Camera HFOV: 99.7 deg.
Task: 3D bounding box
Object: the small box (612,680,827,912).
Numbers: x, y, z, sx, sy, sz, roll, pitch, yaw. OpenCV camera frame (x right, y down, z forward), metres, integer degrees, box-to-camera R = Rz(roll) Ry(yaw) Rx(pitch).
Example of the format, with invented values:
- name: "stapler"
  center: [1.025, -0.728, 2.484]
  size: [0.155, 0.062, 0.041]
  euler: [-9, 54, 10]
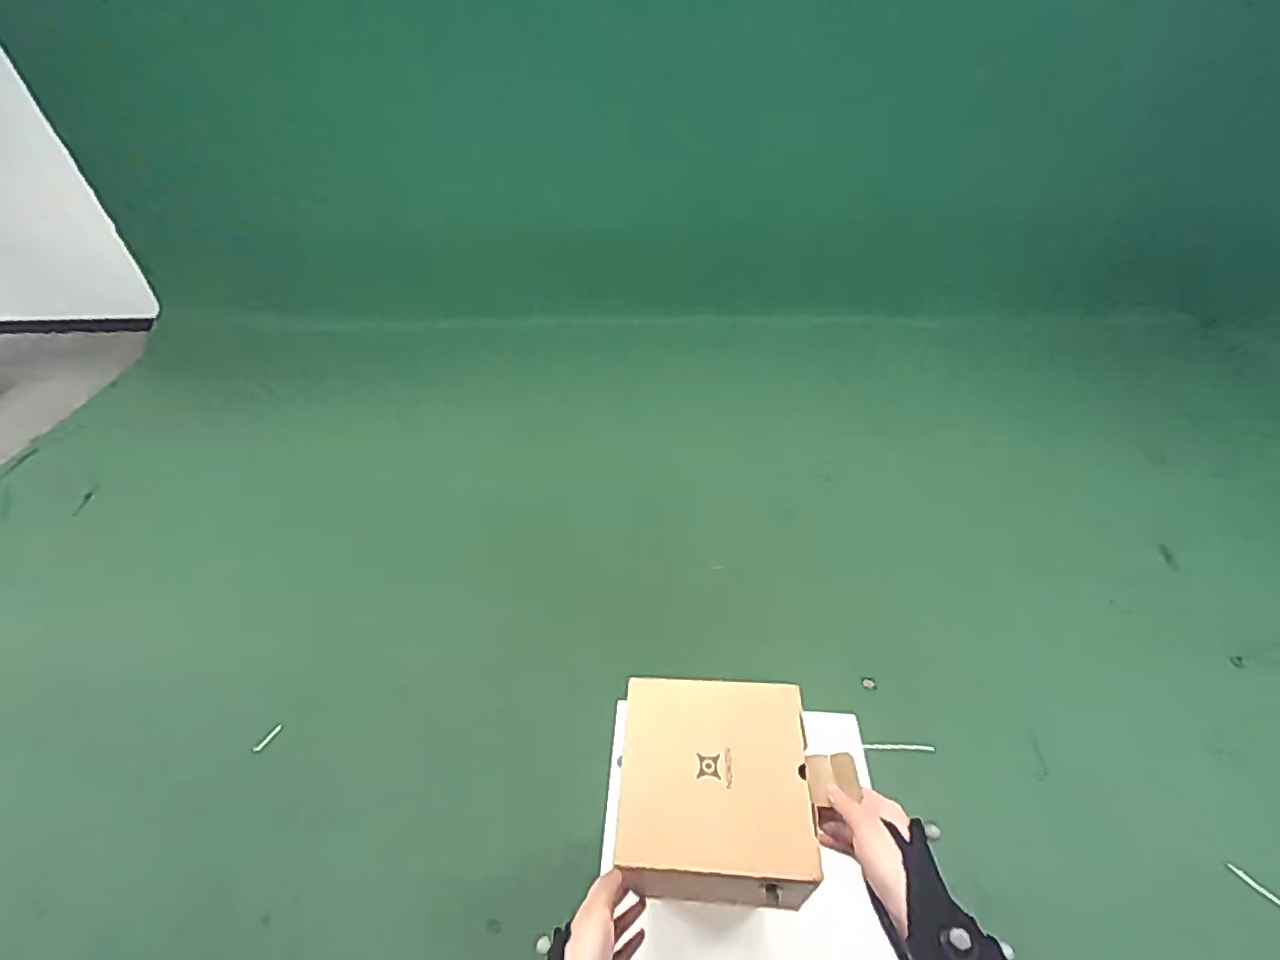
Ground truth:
- name: "small box"
  center: [0.075, 0.318, 0.545]
  size: [0.179, 0.176, 0.168]
  euler: [-1, 46, 6]
